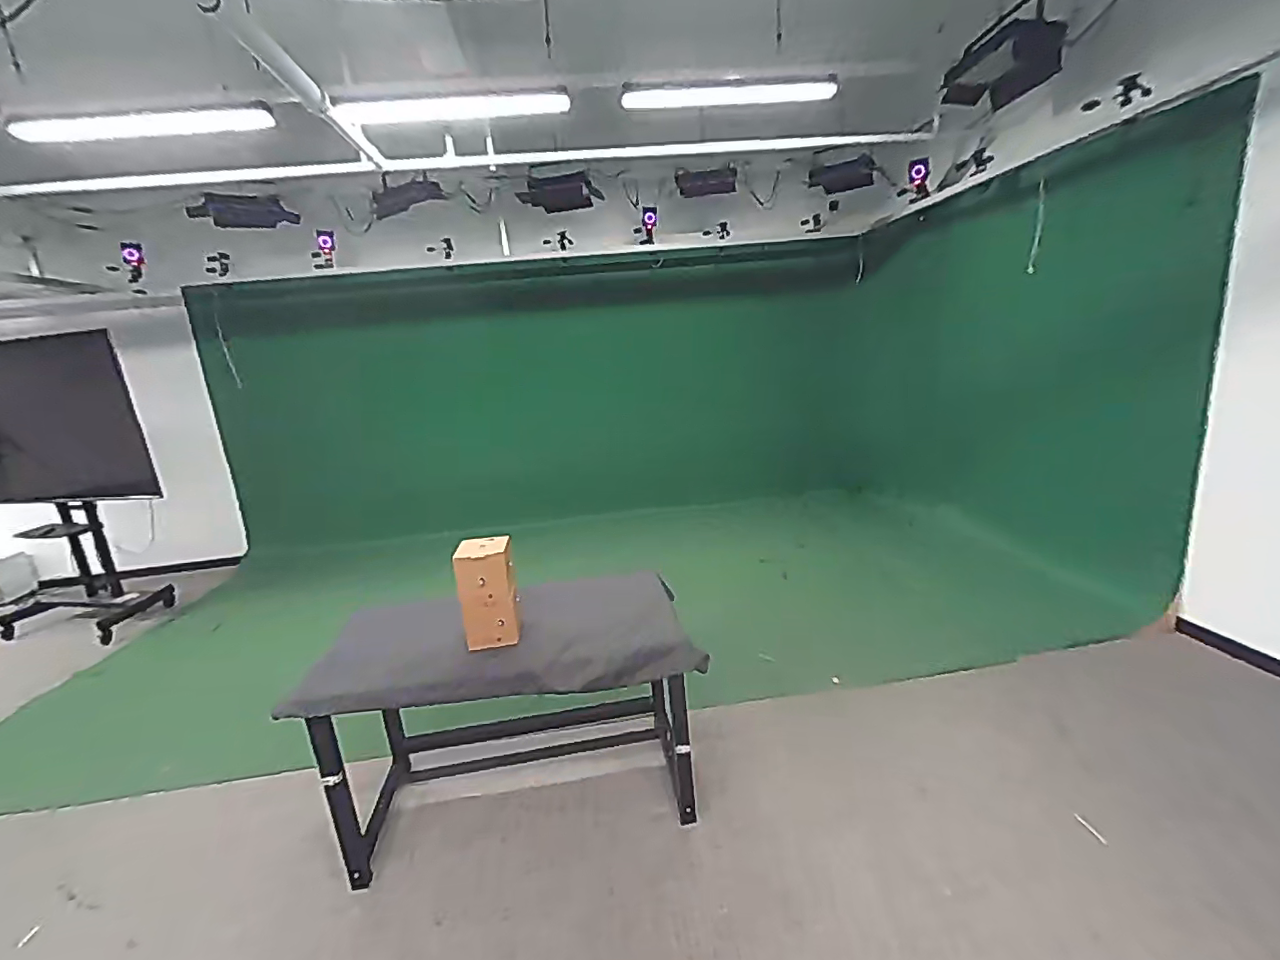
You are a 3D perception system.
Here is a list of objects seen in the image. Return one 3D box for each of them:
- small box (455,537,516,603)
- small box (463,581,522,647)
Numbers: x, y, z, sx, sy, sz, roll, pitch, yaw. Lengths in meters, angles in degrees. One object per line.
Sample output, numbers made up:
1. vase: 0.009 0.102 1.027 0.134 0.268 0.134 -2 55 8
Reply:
1. small box: -0.523 0.311 1.851 0.168 0.176 0.179 -5 14 -6
2. small box: -0.508 0.471 1.883 0.168 0.176 0.179 -5 12 -8
